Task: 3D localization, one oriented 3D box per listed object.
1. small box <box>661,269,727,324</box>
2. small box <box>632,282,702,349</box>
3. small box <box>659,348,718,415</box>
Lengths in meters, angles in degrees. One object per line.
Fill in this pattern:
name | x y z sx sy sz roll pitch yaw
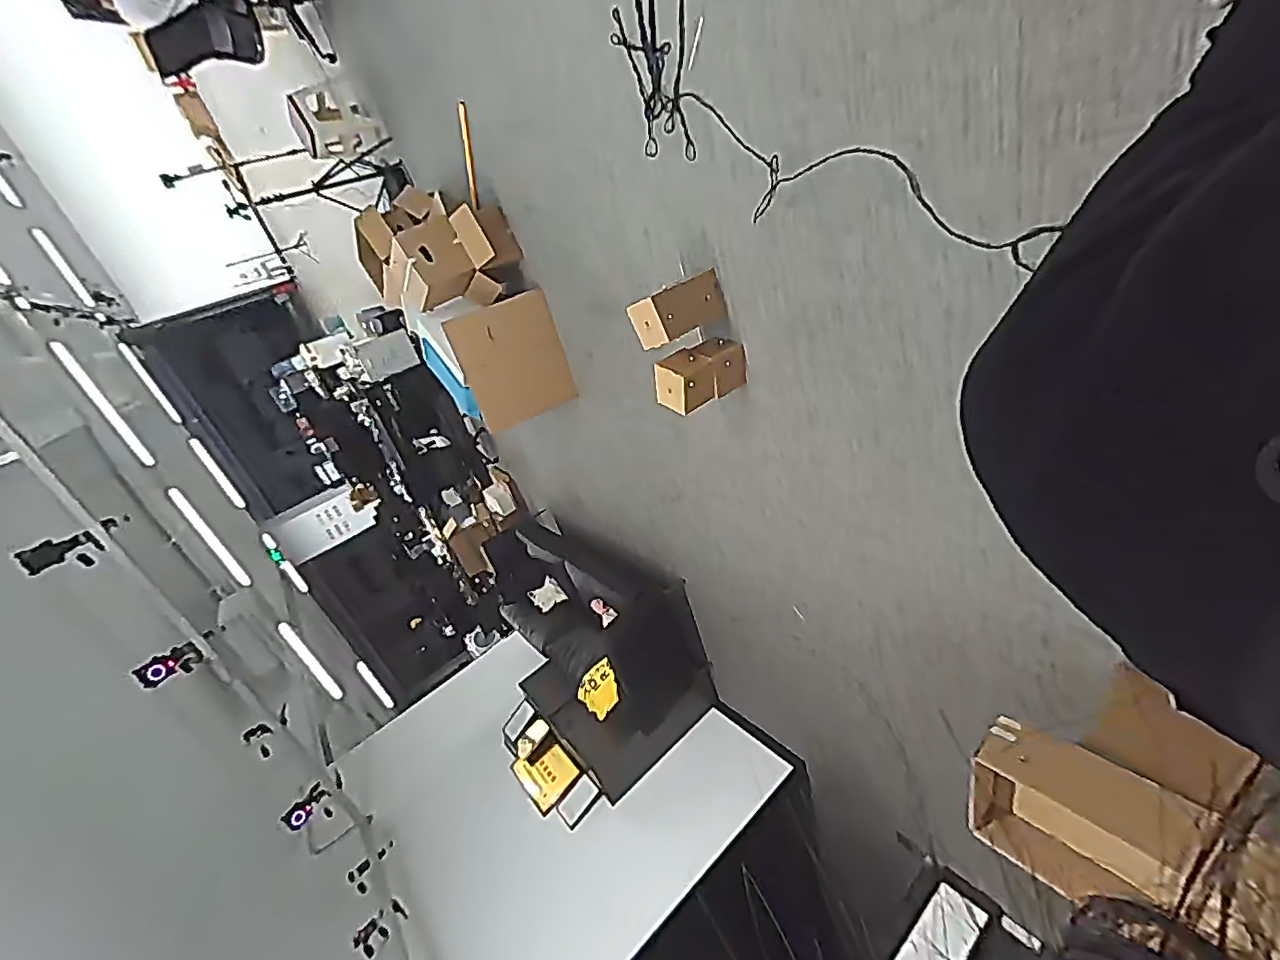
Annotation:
small box | 0.218 -0.703 2.100 0.179 0.176 0.168 11 129 56
small box | 0.105 -0.614 2.021 0.168 0.176 0.179 3 122 58
small box | 0.194 -0.391 2.127 0.168 0.176 0.179 35 145 38
